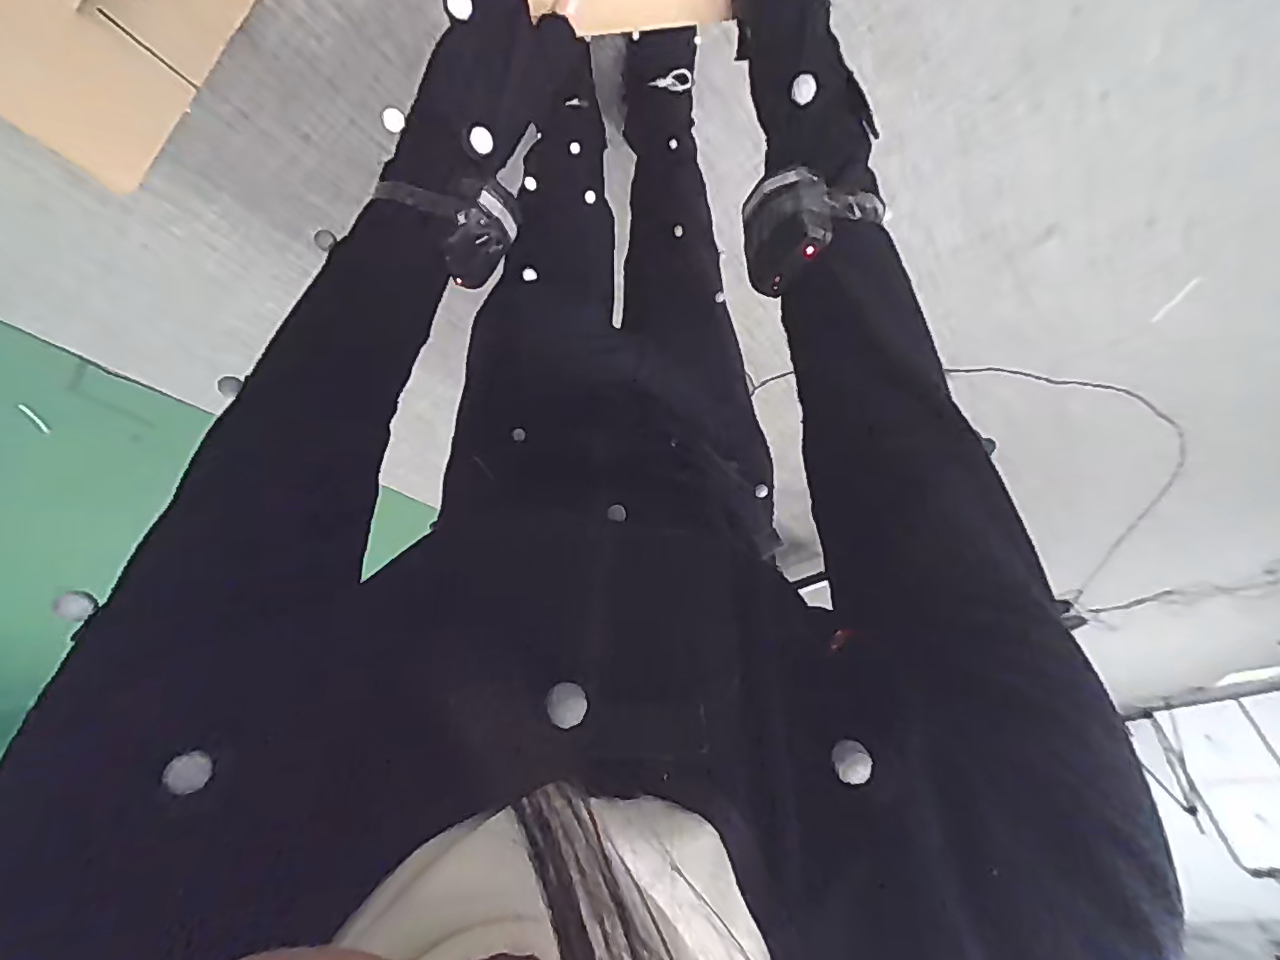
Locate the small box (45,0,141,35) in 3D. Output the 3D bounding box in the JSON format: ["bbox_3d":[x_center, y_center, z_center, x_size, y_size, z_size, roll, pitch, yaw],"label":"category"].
[{"bbox_3d":[-0.710,-0.722,0.672,0.168,0.176,0.179,-22,140,23],"label":"small box"}]

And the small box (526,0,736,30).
[{"bbox_3d":[-0.006,-0.445,0.376,0.179,0.176,0.168,-8,140,3],"label":"small box"}]
